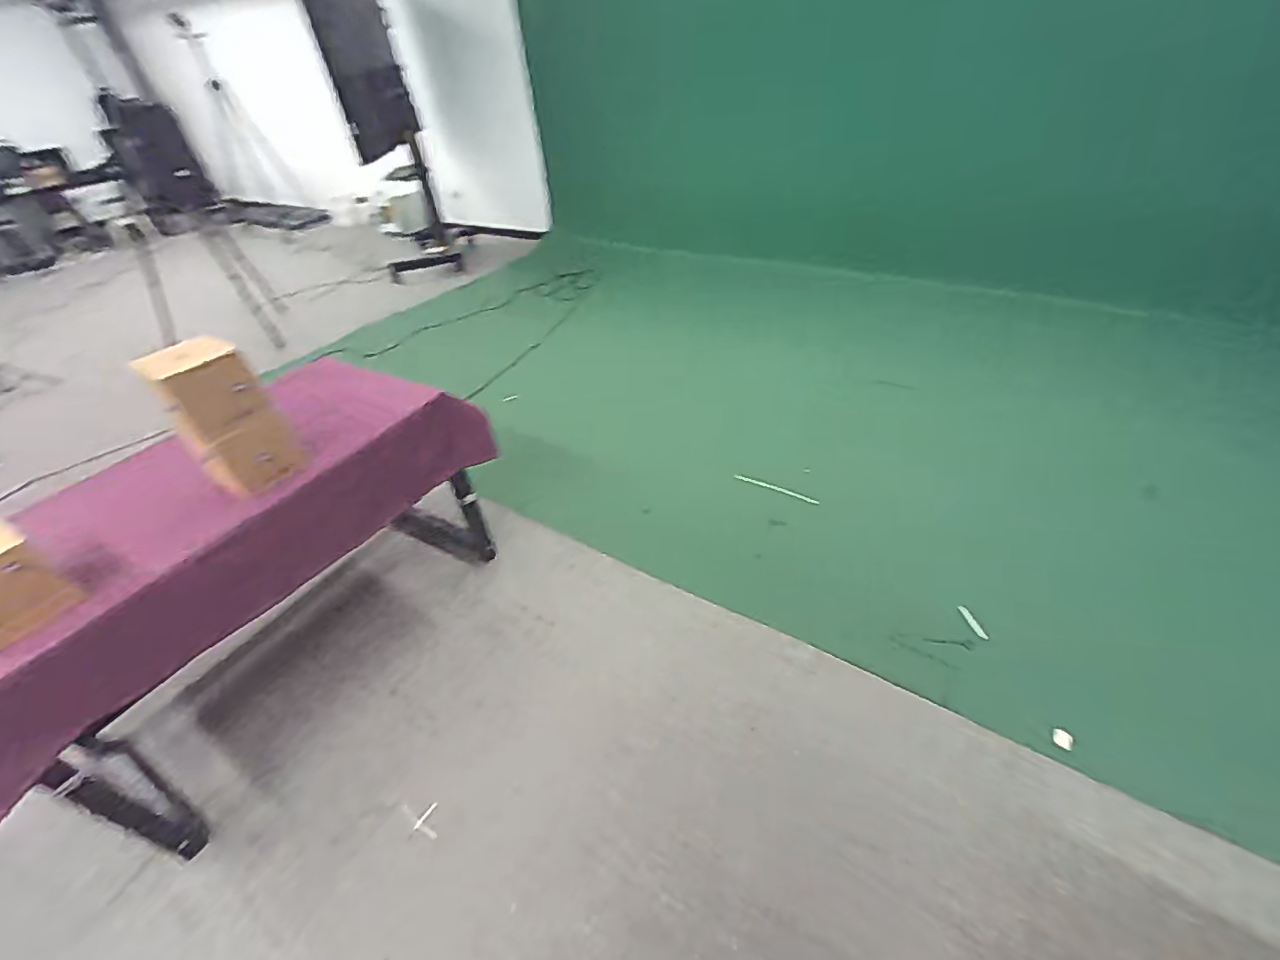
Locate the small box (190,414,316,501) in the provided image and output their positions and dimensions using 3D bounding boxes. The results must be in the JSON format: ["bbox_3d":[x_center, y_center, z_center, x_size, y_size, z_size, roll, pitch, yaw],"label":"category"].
[{"bbox_3d":[-0.969,-0.071,1.369,0.179,0.176,0.168,18,45,28],"label":"small box"}]

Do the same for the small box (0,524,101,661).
[{"bbox_3d":[-1.237,0.220,1.057,0.168,0.176,0.179,15,43,26],"label":"small box"}]

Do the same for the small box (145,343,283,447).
[{"bbox_3d":[-0.988,-0.198,1.268,0.179,0.176,0.168,20,46,30],"label":"small box"}]
